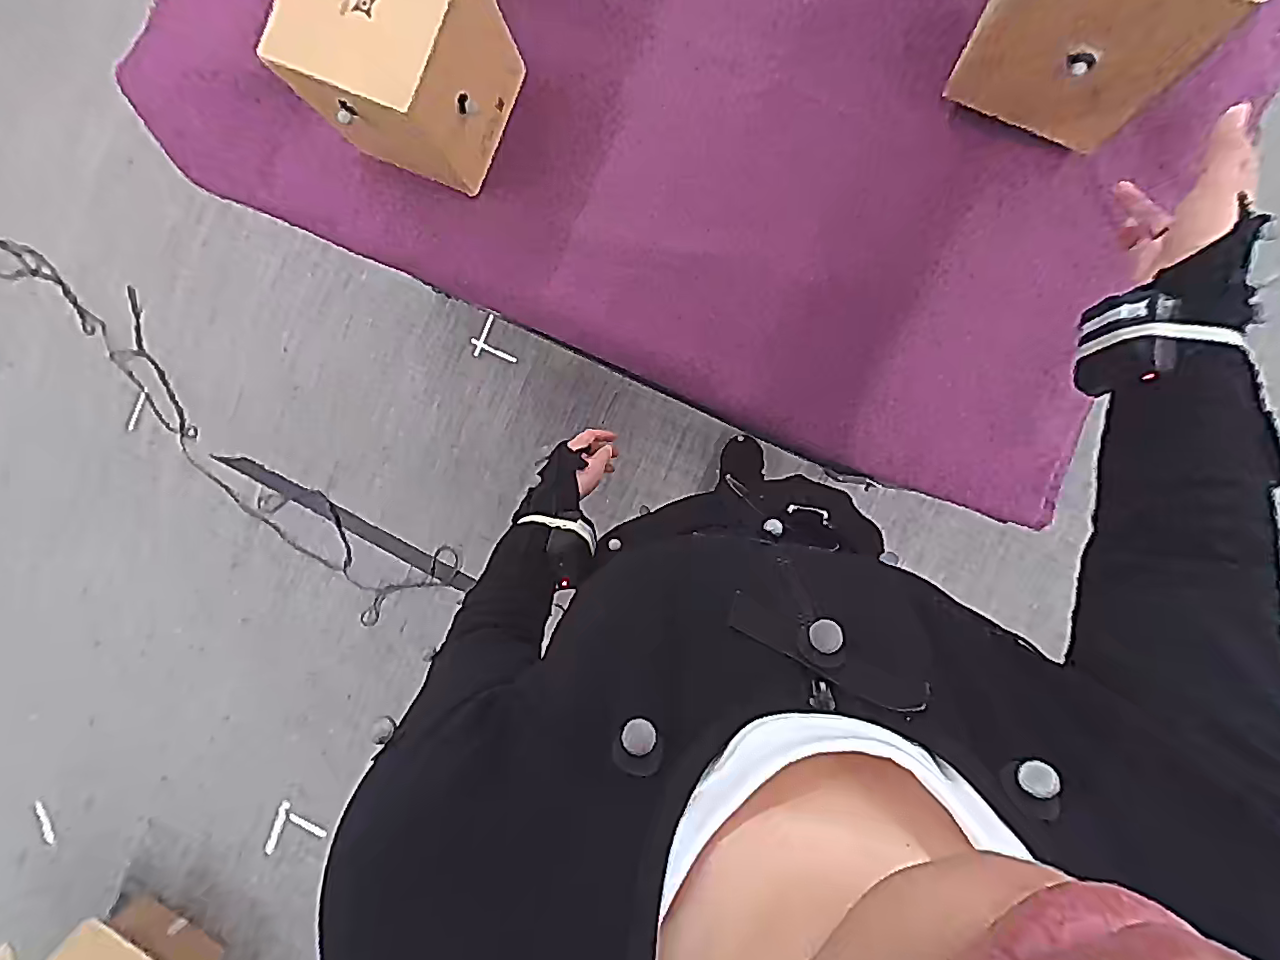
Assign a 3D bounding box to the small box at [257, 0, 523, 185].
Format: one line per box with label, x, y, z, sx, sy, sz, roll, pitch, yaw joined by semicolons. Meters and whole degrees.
small box;-0.252;-0.457;0.588;0.179;0.176;0.168;24;95;6
